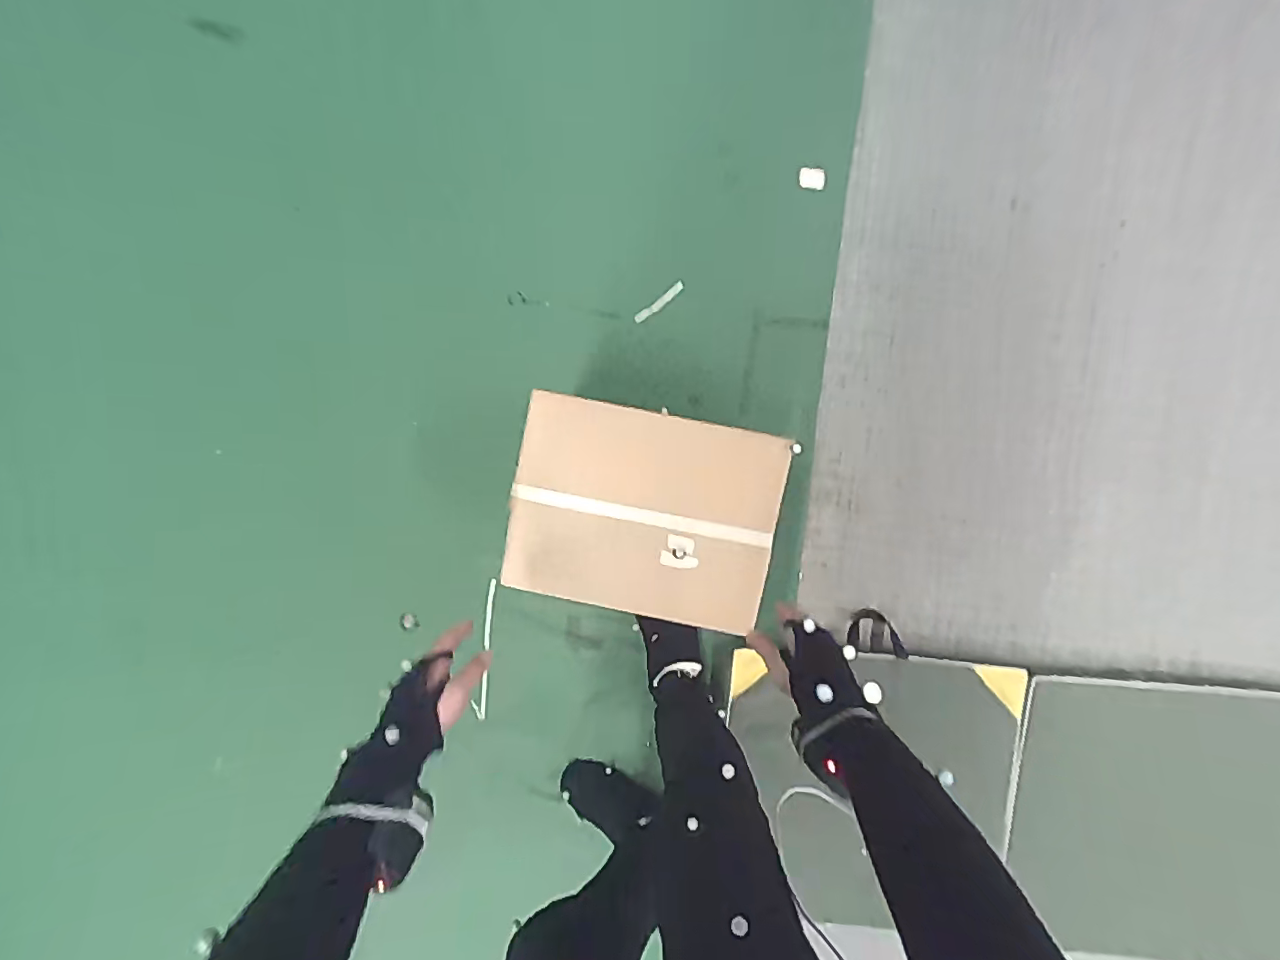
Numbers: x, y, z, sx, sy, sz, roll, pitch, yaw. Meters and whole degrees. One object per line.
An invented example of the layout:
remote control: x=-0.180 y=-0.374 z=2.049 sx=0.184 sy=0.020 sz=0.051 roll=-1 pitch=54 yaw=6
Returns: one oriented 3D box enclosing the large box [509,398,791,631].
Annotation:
large box: x=0.014 y=0.045 z=0.988 sx=0.408 sy=0.320 sz=0.320 roll=11 pitch=96 yaw=1
